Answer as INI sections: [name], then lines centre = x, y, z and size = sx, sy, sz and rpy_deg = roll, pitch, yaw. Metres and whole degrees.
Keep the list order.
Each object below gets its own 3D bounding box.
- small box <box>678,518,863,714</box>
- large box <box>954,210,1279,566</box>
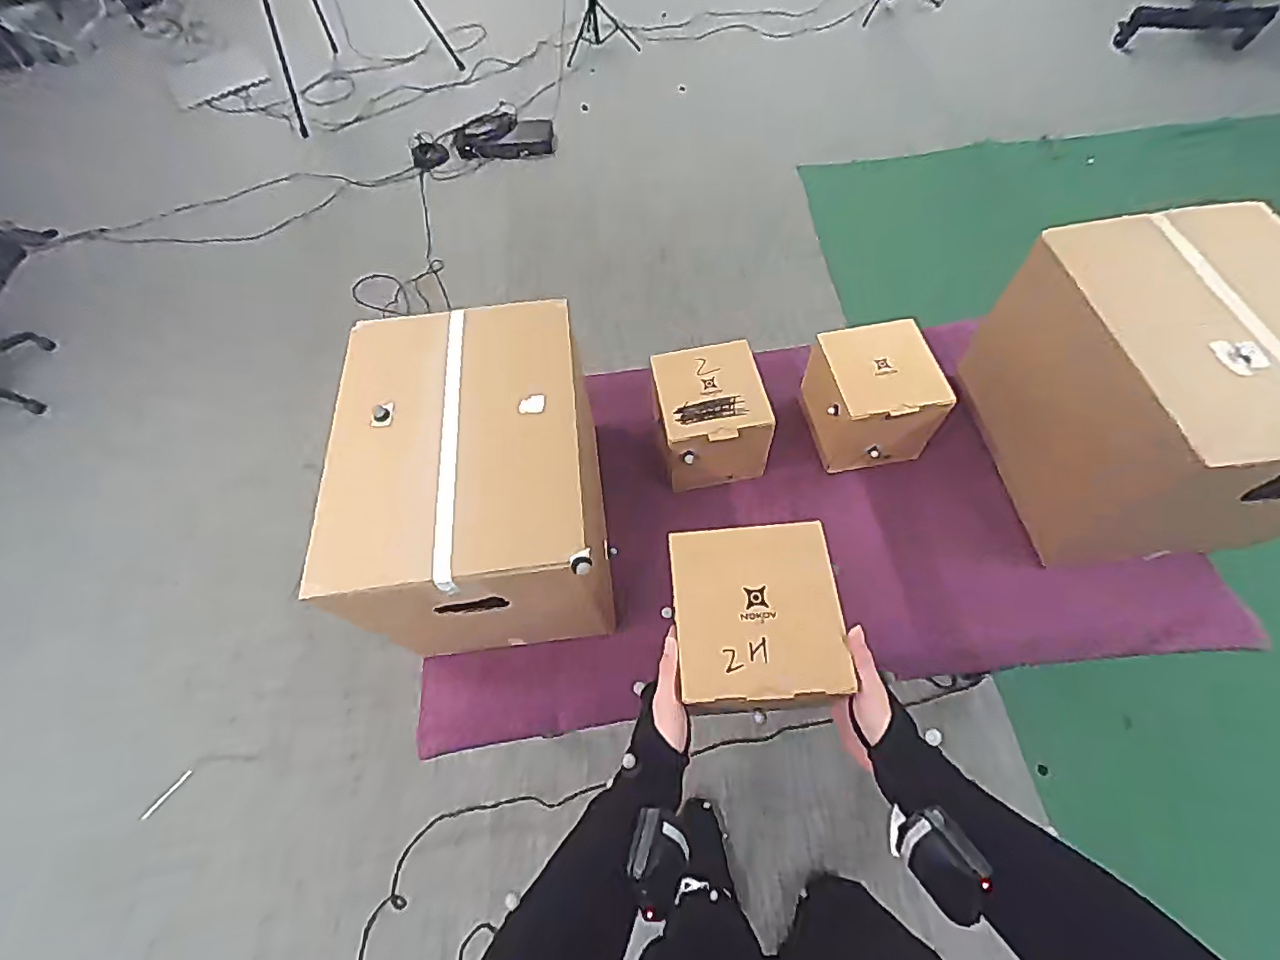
[small box]
centre = 0.131, 0.160, 0.614
size = 0.168, 0.176, 0.179
rpy_deg = -5, 62, 4
[large box]
centre = 0.751, -0.124, 0.801
size = 0.320, 0.320, 0.408
rpy_deg = -7, 61, 2
